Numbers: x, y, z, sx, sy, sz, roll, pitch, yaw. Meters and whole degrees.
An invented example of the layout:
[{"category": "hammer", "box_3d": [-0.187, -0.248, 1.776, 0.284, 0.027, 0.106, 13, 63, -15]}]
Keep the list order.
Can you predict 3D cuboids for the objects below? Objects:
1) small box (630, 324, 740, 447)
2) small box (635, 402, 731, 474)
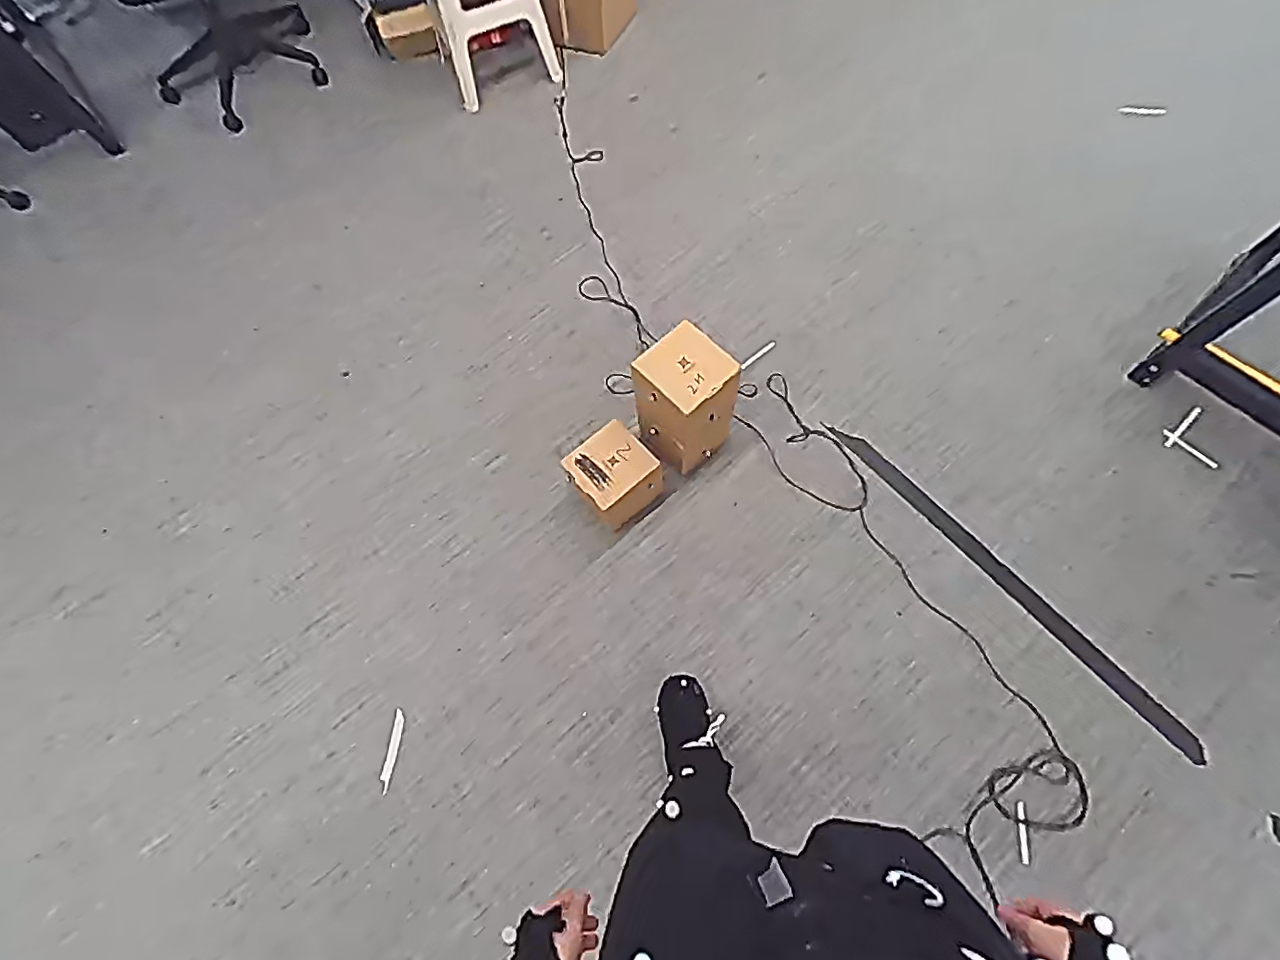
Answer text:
[{"category": "small box", "box_3d": [0.097, -0.206, 1.213, 0.168, 0.176, 0.179, -41, 72, -12]}, {"category": "small box", "box_3d": [0.105, -0.144, 1.366, 0.168, 0.176, 0.179, -39, 72, -12]}]
